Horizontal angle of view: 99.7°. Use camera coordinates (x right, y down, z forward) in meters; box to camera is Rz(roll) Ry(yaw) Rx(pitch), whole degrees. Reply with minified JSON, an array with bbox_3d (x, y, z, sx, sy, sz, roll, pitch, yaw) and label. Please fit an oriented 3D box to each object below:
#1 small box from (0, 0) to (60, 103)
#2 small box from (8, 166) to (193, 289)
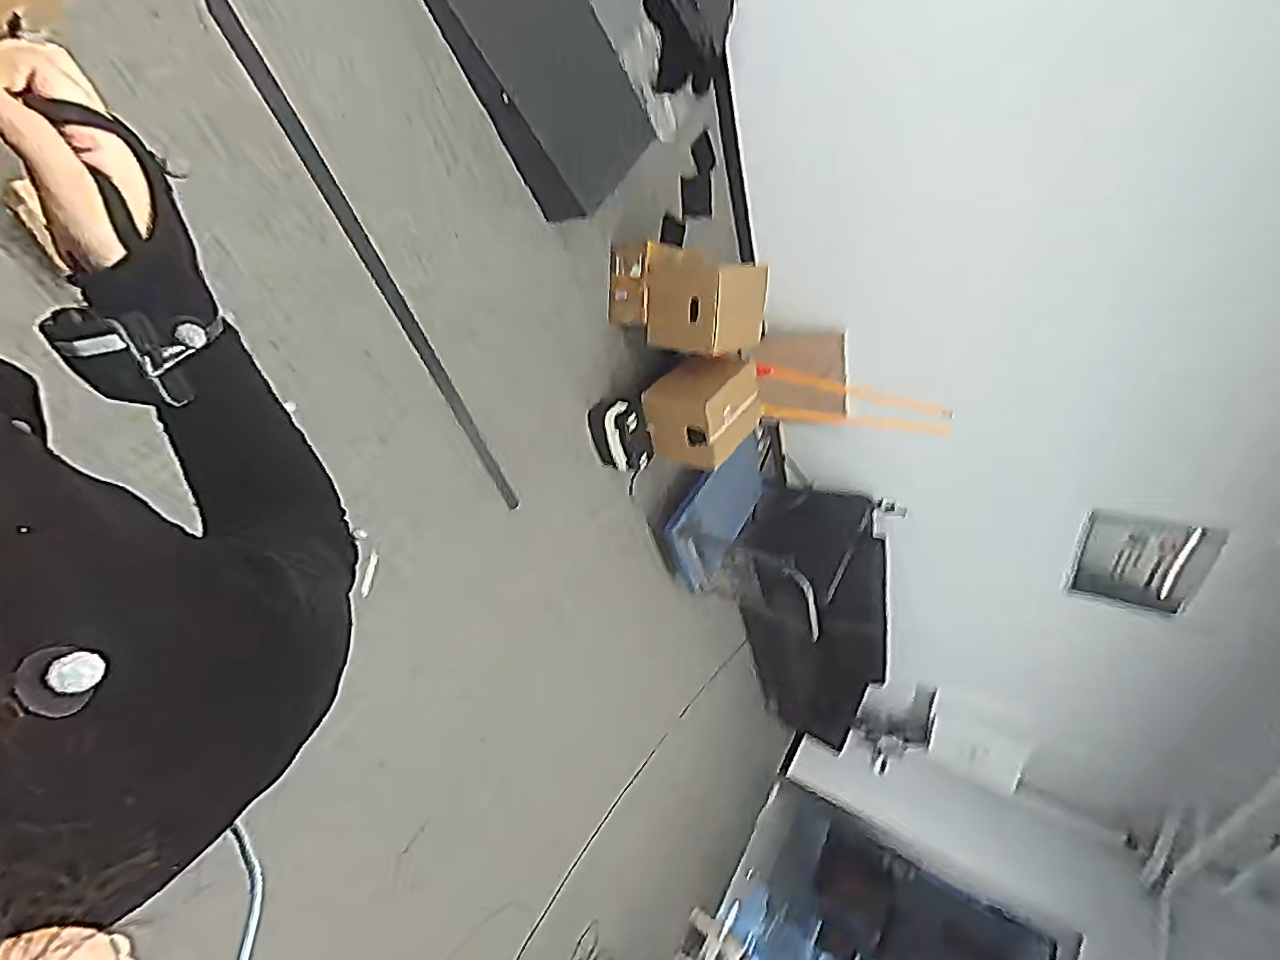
[{"bbox_3d":[-0.399,-0.235,0.226,0.179,0.176,0.168,34,87,-49],"label":"small box"},{"bbox_3d":[-0.980,-0.453,0.983,0.179,0.176,0.168,-45,135,-37],"label":"small box"}]
